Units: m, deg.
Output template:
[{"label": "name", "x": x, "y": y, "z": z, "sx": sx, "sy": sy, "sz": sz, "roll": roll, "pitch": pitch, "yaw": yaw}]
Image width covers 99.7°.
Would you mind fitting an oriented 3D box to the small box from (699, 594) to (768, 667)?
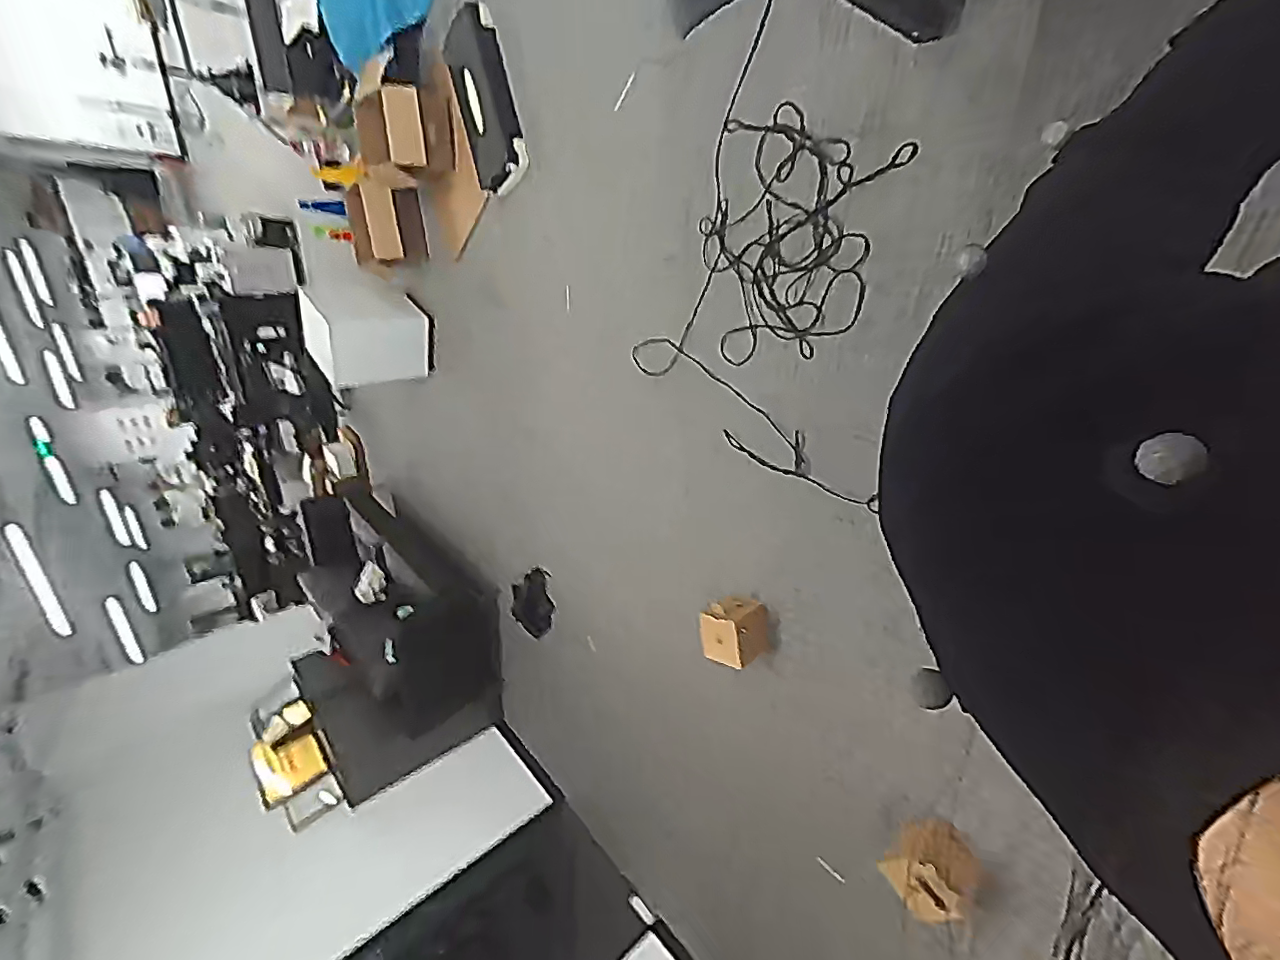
[{"label": "small box", "x": 0.334, "y": 0.522, "z": 1.900, "sx": 0.168, "sy": 0.176, "sz": 0.179, "roll": 2, "pitch": 105, "yaw": 49}]
